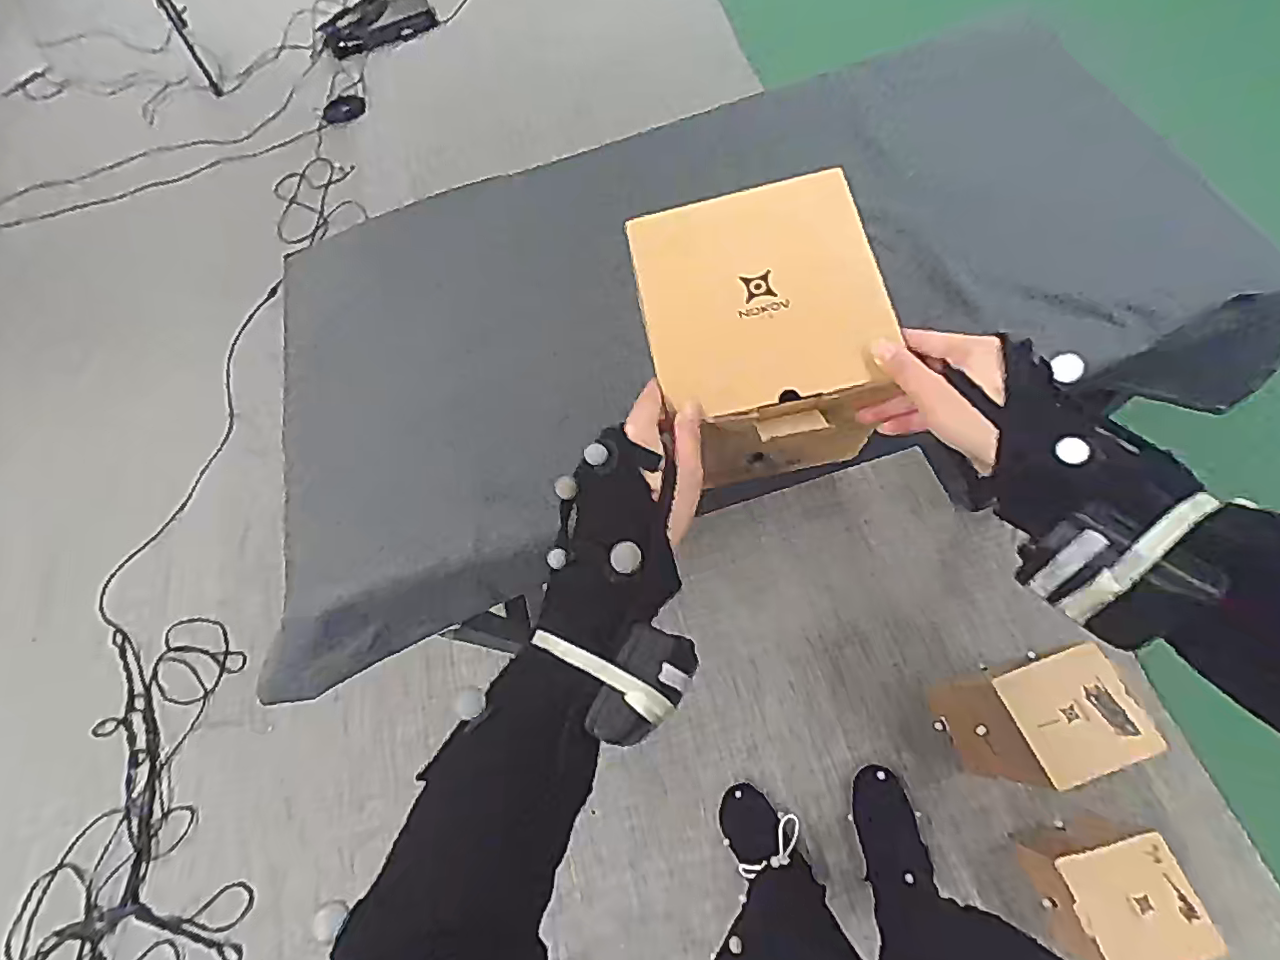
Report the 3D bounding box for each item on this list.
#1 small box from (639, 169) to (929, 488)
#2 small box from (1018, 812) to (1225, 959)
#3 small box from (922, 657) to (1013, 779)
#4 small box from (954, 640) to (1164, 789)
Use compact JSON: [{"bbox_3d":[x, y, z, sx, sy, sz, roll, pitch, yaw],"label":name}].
[{"bbox_3d":[0.100,-0.109,0.449,0.168,0.176,0.179,-12,74,4],"label":"small box"},{"bbox_3d":[0.782,0.684,0.911,0.179,0.176,0.168,-18,66,3],"label":"small box"},{"bbox_3d":[0.680,0.446,1.030,0.179,0.176,0.168,-22,64,0],"label":"small box"},{"bbox_3d":[0.661,0.377,0.882,0.179,0.176,0.168,-22,65,0],"label":"small box"}]
